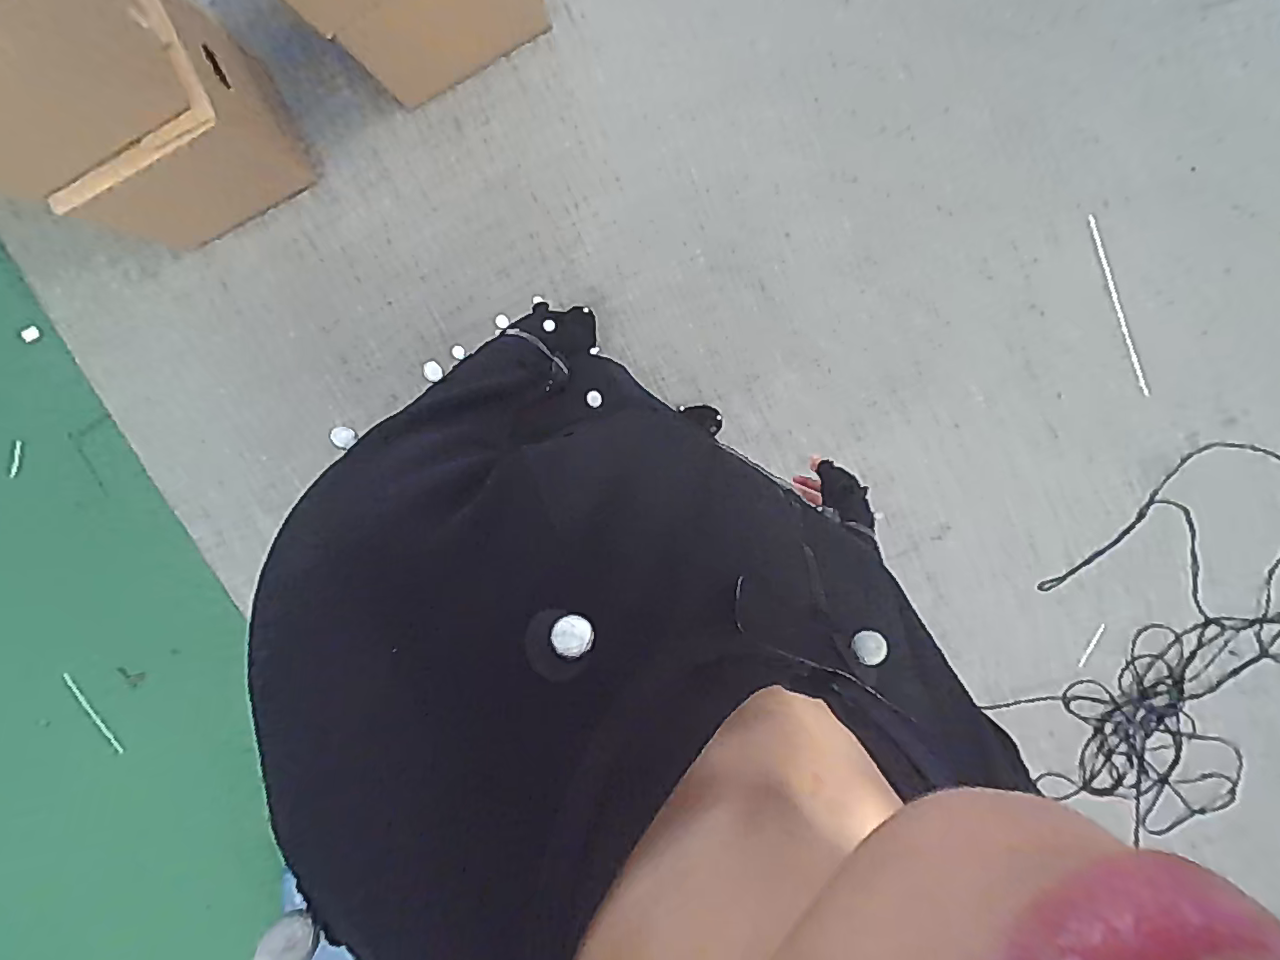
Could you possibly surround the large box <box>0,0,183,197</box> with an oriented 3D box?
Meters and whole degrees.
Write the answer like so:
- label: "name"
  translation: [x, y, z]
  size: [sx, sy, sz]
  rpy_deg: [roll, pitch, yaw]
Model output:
- label: "large box"
  translation: [-1.112, -0.752, 0.889]
  size: [0.408, 0.320, 0.320]
  rpy_deg: [-24, 96, 6]
